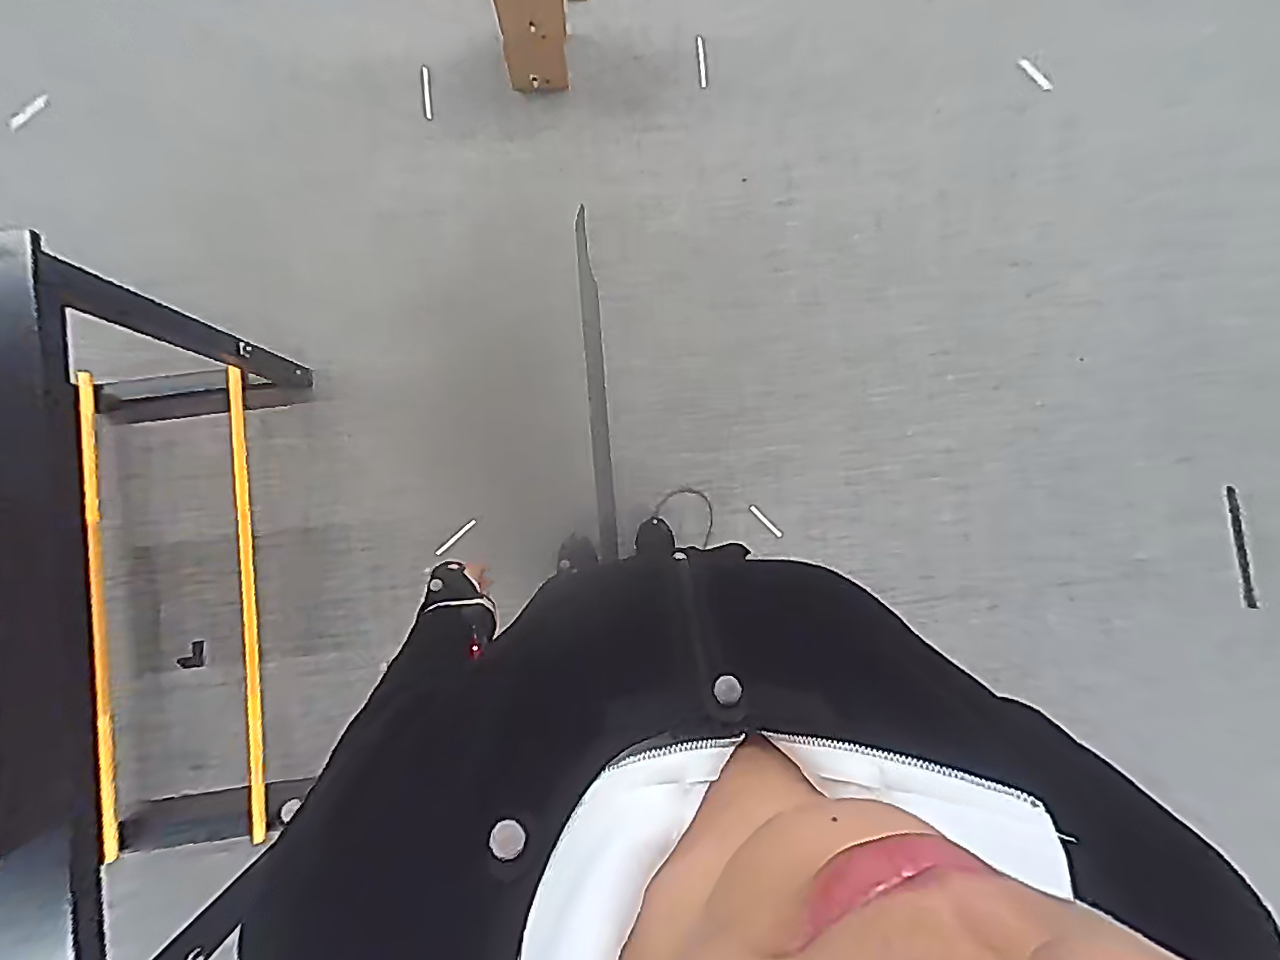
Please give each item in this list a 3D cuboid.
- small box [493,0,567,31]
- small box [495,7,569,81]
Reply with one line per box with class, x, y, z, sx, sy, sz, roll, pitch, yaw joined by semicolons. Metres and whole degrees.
small box;-0.262;-1.181;1.233;0.168;0.176;0.179;-6;88;-2
small box;-0.278;-1.180;1.397;0.168;0.176;0.179;-6;89;-2
